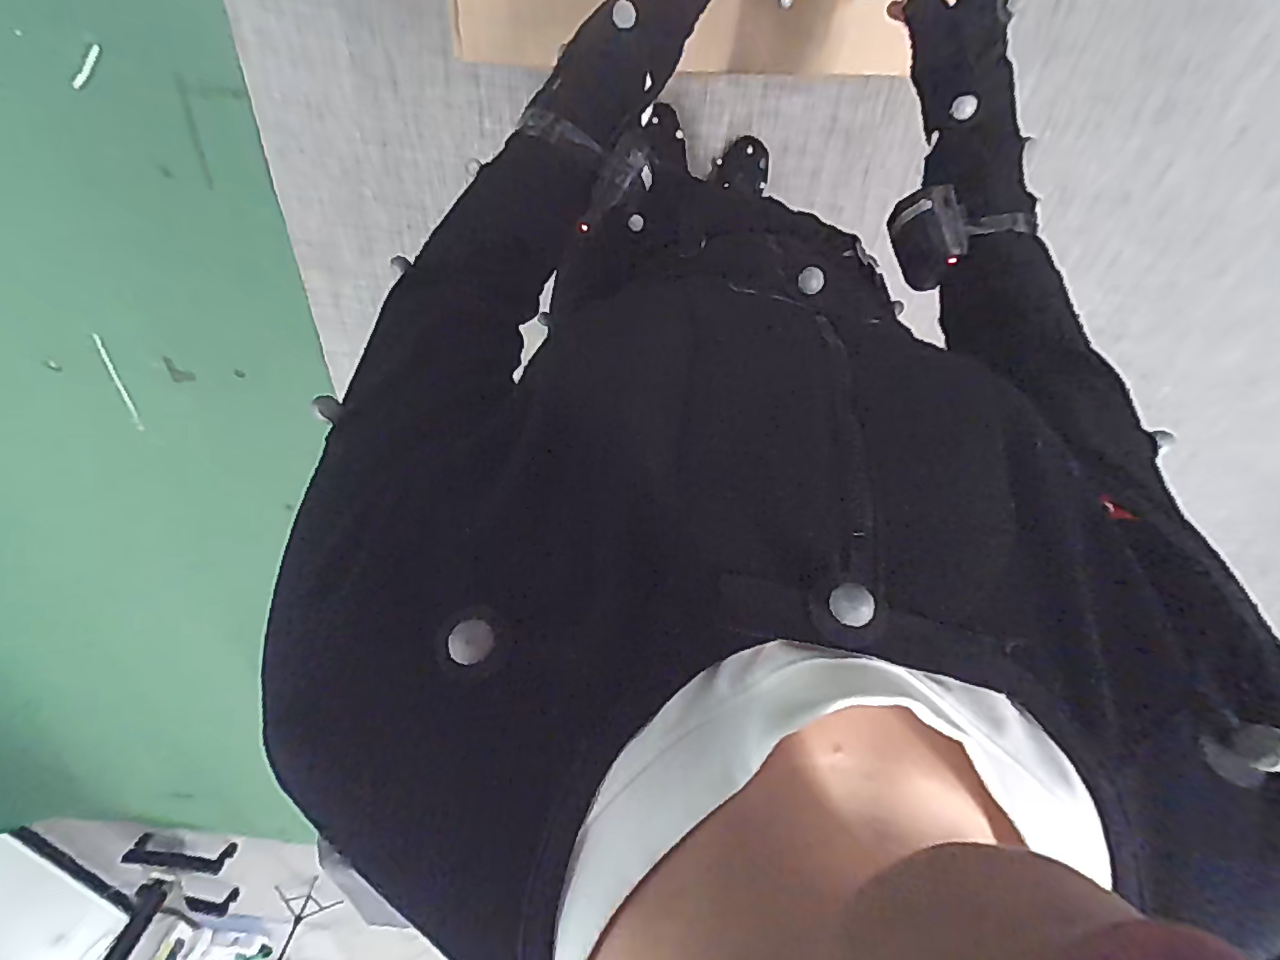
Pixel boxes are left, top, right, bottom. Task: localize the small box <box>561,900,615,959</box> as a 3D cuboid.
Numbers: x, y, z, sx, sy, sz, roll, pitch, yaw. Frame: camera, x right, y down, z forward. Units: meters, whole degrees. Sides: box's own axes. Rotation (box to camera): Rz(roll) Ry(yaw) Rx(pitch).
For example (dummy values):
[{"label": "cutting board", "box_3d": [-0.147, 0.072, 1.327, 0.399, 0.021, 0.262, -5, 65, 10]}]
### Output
[{"label": "small box", "box_3d": [-0.175, 1.564, 1.844, 0.168, 0.176, 0.179, 4, 127, 2]}]
